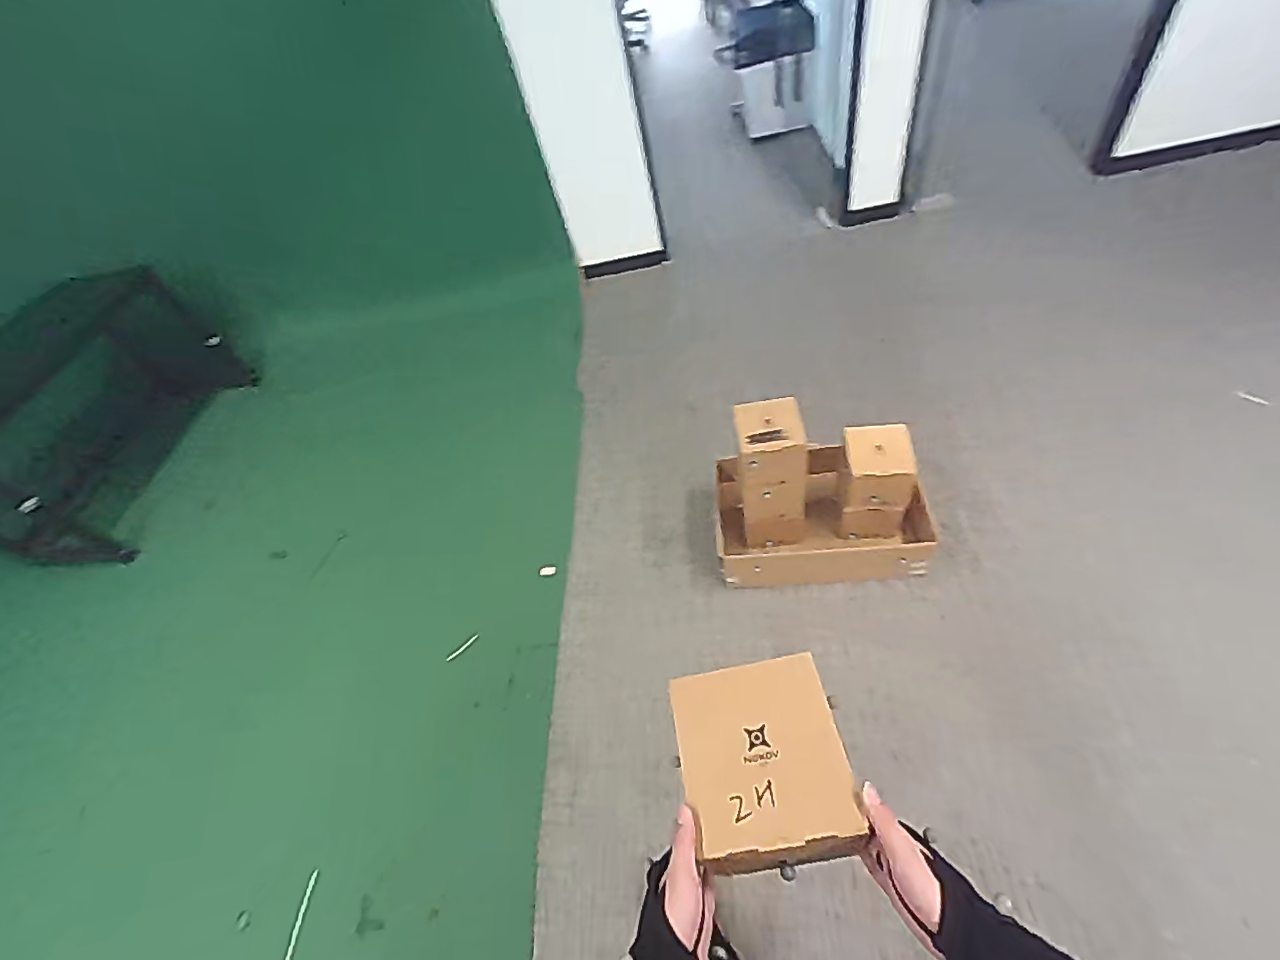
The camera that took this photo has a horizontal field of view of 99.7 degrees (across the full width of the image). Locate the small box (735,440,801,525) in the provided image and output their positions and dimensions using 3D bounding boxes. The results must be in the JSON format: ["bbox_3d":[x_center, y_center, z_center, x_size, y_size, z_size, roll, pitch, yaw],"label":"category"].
[{"bbox_3d":[0.375,0.009,1.600,0.168,0.176,0.179,-9,51,9],"label":"small box"}]

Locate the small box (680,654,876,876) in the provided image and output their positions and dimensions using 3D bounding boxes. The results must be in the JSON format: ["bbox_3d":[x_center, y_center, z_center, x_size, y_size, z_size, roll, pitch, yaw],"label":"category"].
[{"bbox_3d":[0.146,0.324,0.611,0.168,0.176,0.179,-12,47,7],"label":"small box"}]

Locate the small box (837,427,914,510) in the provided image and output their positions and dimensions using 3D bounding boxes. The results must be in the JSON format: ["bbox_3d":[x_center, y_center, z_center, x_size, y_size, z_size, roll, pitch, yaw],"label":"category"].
[{"bbox_3d":[0.669,-0.031,1.555,0.168,0.176,0.179,-3,54,12],"label":"small box"}]
